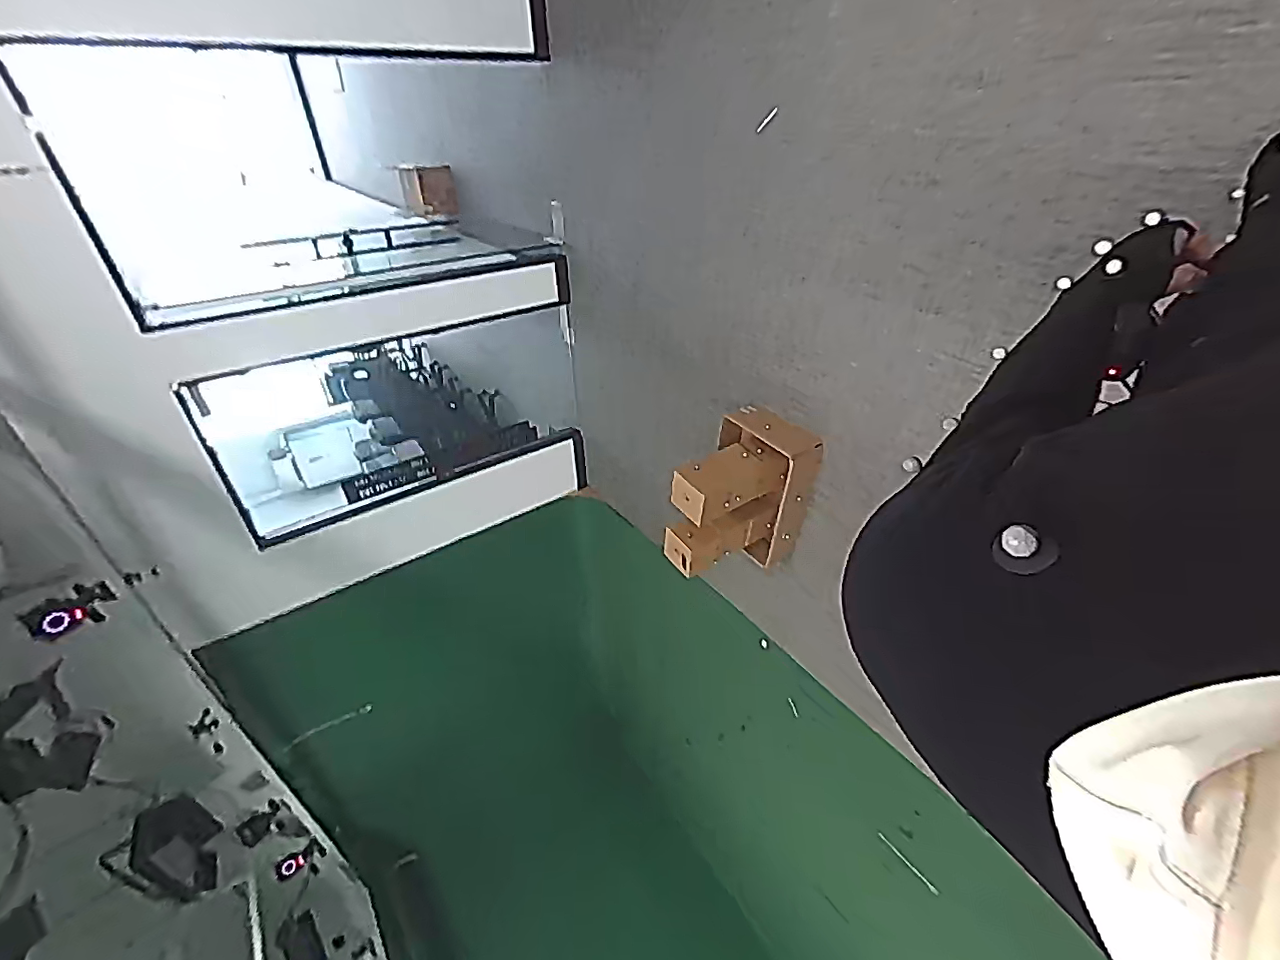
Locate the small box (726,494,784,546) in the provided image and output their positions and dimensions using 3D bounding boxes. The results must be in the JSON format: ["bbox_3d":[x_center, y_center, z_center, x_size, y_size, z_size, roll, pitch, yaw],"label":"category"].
[{"bbox_3d":[0.515,0.160,2.432,0.179,0.176,0.168,43,143,39],"label":"small box"}]

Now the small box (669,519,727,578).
[{"bbox_3d":[0.246,0.277,2.285,0.179,0.176,0.168,44,143,40],"label":"small box"}]

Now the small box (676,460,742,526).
[{"bbox_3d":[0.263,0.044,2.088,0.179,0.176,0.168,43,144,37],"label":"small box"}]

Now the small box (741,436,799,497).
[{"bbox_3d":[0.528,-0.064,2.247,0.179,0.176,0.168,42,143,38],"label":"small box"}]

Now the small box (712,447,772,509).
[{"bbox_3d":[0.396,-0.013,2.165,0.179,0.176,0.168,44,144,38],"label":"small box"}]
